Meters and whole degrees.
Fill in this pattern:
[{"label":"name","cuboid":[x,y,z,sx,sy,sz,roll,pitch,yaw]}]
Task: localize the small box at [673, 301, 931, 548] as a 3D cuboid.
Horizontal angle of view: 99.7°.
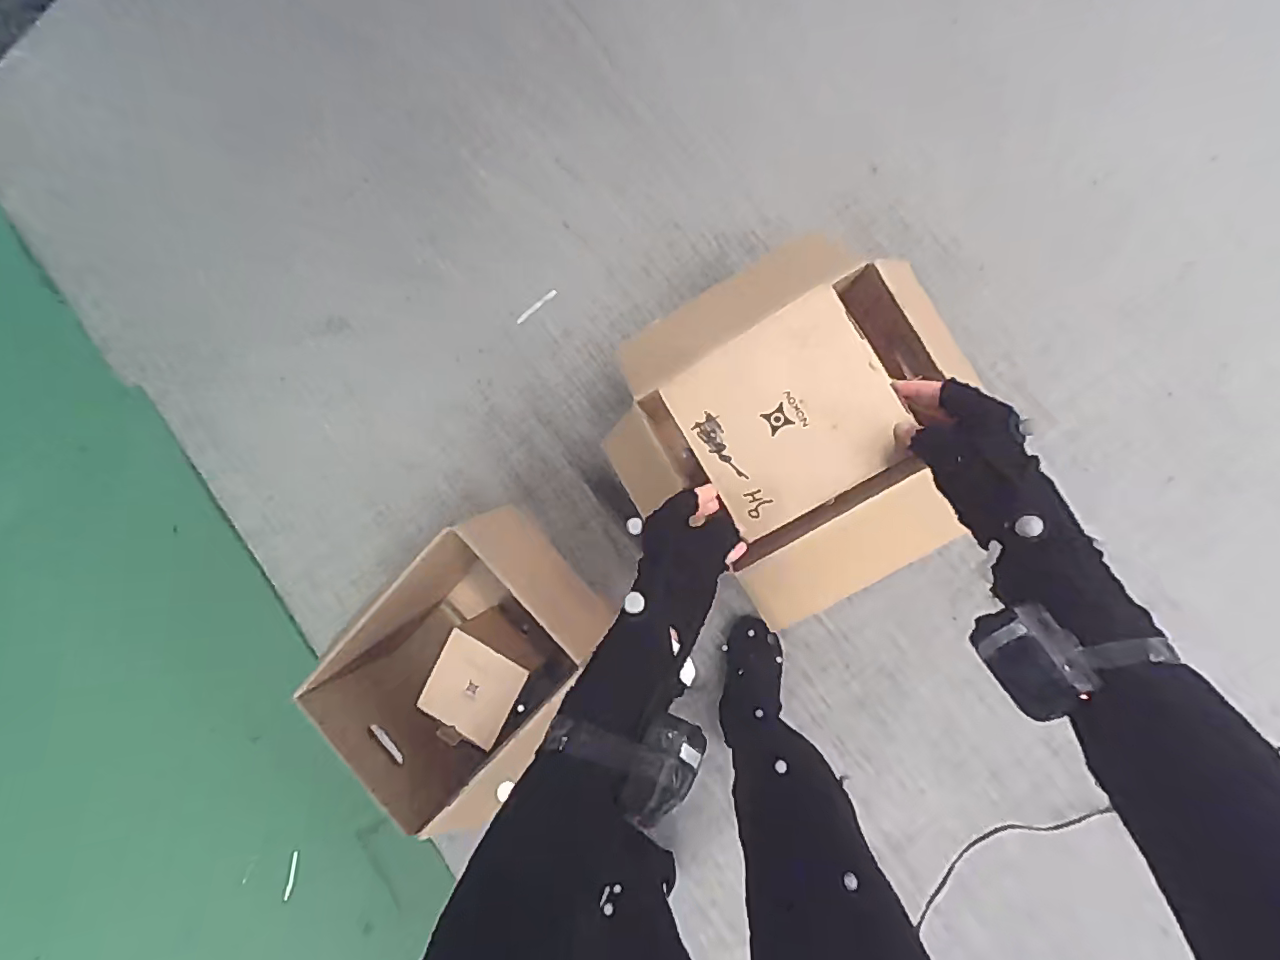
[{"label":"small box","cuboid":[0.157,-0.051,0.566,0.179,0.176,0.168,-32,84,11]}]
